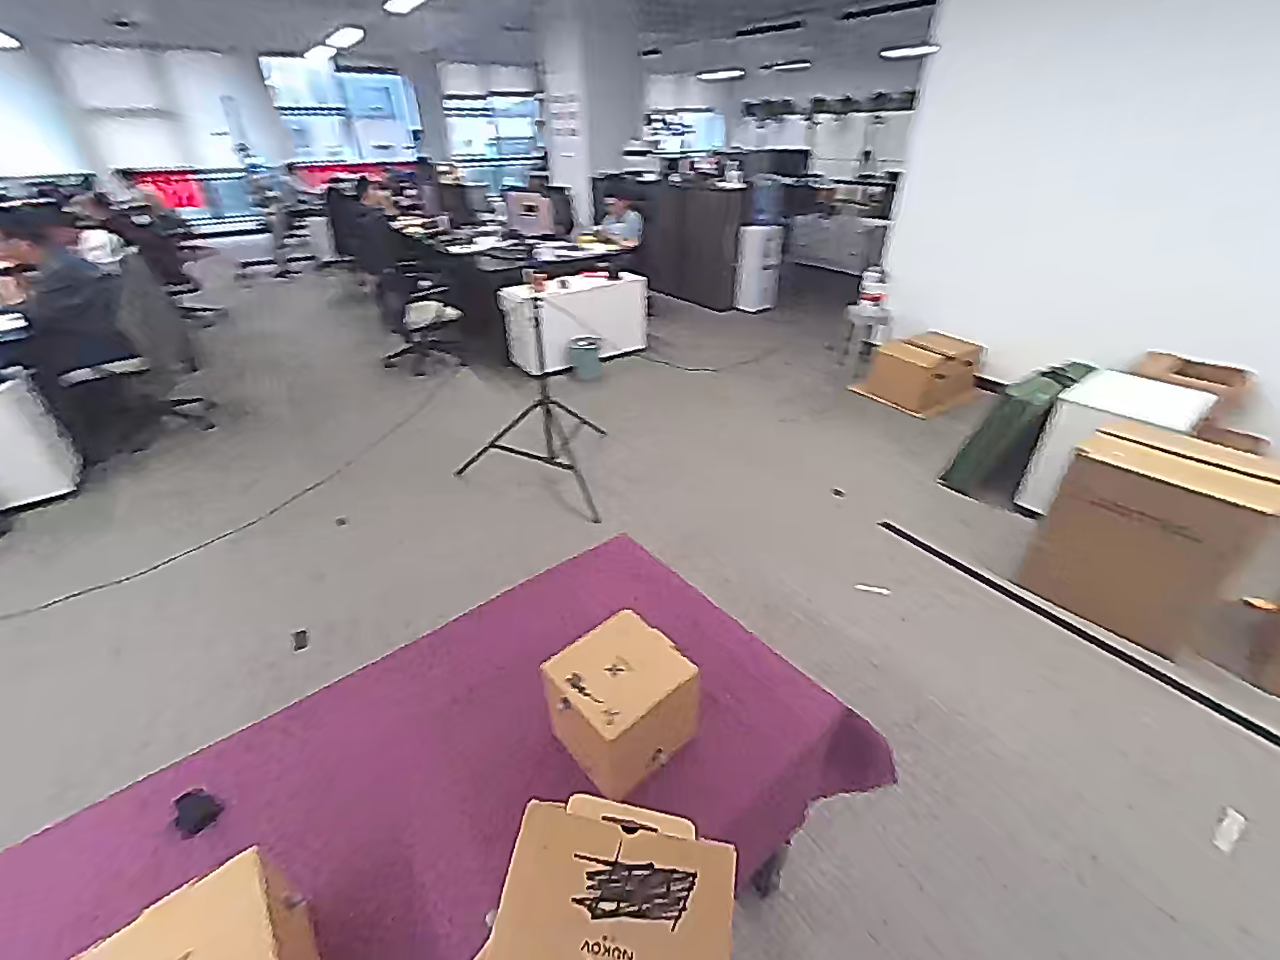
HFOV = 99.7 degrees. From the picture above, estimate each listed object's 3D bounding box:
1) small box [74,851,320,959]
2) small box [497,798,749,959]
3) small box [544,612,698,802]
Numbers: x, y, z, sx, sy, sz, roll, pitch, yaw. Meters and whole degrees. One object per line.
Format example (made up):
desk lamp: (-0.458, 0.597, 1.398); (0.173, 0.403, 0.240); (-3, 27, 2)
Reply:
small box: (-0.441, 0.545, 0.552); (0.168, 0.176, 0.179); (-26, 41, -32)
small box: (-0.019, 0.379, 0.417); (0.168, 0.176, 0.179); (10, 48, 6)
small box: (-0.030, 0.349, 0.847); (0.179, 0.176, 0.168); (-26, 40, -34)
